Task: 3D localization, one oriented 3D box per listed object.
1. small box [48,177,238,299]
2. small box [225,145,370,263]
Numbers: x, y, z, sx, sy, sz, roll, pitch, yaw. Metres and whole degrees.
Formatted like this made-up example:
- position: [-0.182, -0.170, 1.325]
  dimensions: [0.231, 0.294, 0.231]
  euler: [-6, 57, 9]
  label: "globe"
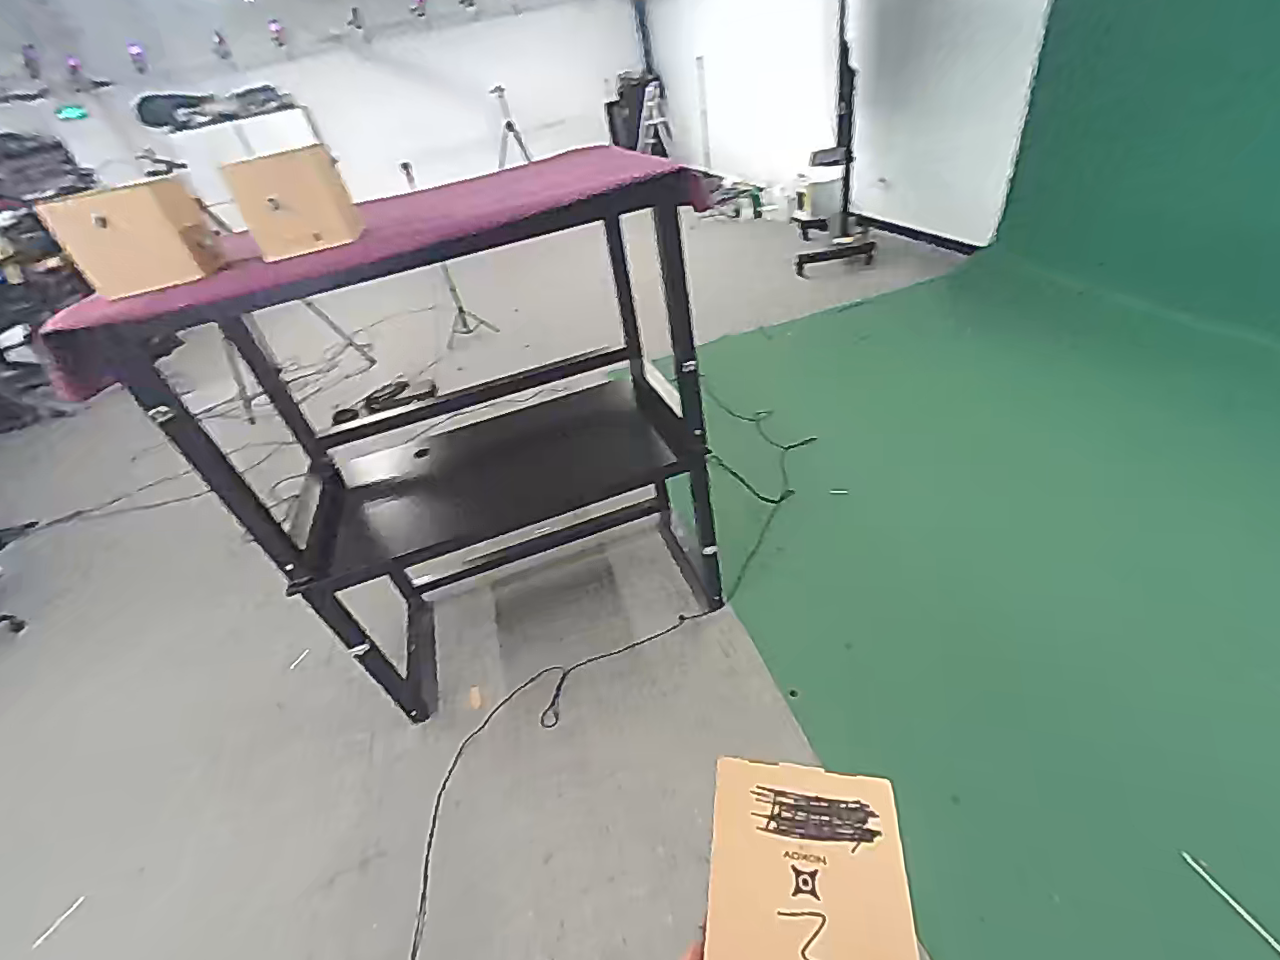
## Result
- position: [-0.927, -0.461, 1.032]
  dimensions: [0.179, 0.176, 0.168]
  euler: [-17, 37, -8]
  label: "small box"
- position: [-0.659, -0.543, 1.069]
  dimensions: [0.168, 0.176, 0.179]
  euler: [-18, 36, -7]
  label: "small box"
